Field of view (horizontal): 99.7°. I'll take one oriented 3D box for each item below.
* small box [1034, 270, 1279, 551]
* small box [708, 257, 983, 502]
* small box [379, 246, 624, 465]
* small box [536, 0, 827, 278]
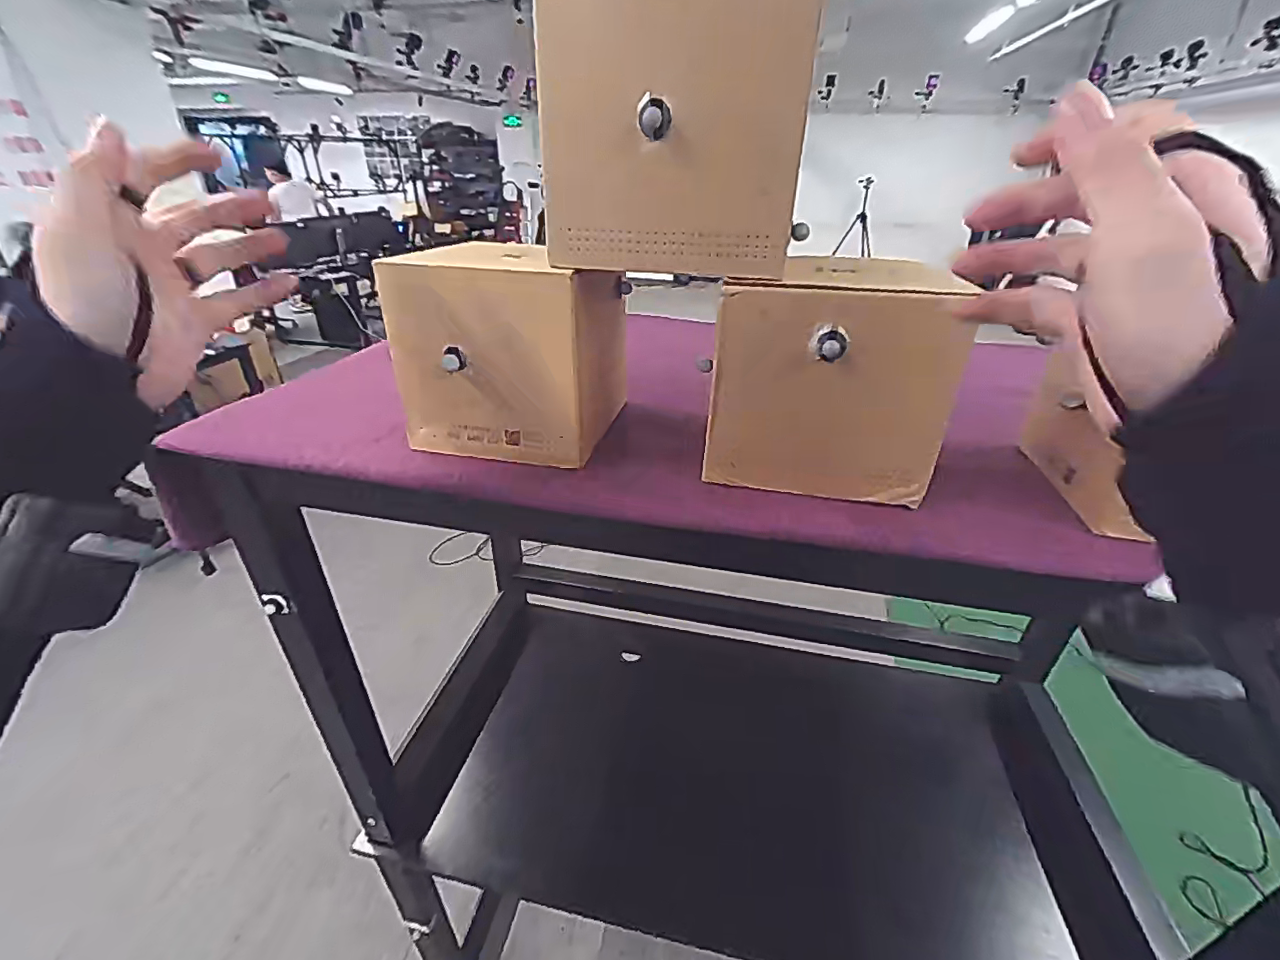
[{"bbox_3d":[0.442,-0.060,0.416,0.179,0.176,0.168,6,31,11],"label":"small box"},{"bbox_3d":[0.158,-0.095,0.473,0.179,0.176,0.168,7,30,11],"label":"small box"},{"bbox_3d":[-0.110,-0.126,0.520,0.168,0.176,0.179,7,28,9],"label":"small box"},{"bbox_3d":[0.035,-0.257,0.423,0.179,0.176,0.168,6,29,9],"label":"small box"}]
